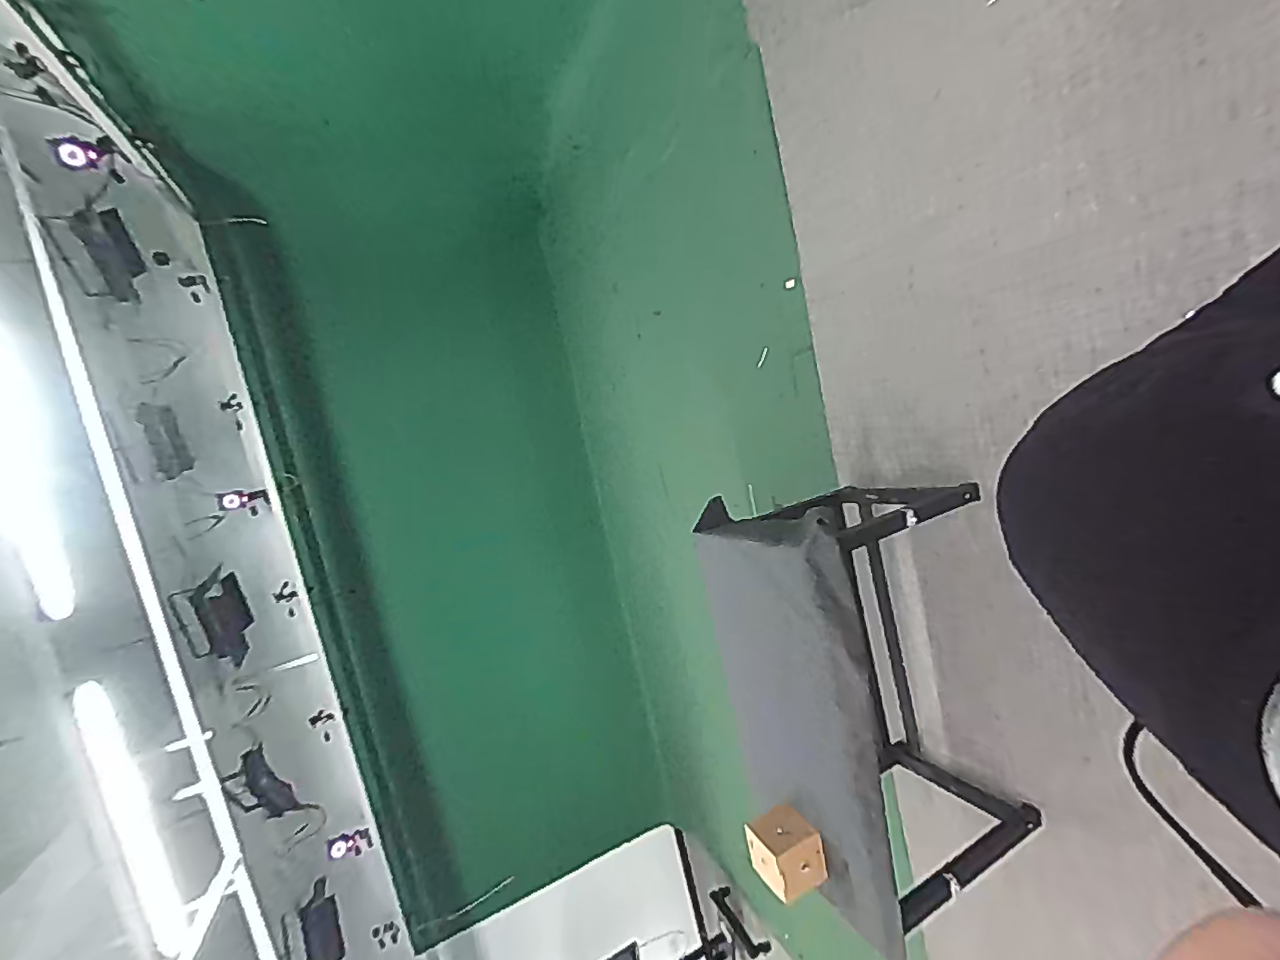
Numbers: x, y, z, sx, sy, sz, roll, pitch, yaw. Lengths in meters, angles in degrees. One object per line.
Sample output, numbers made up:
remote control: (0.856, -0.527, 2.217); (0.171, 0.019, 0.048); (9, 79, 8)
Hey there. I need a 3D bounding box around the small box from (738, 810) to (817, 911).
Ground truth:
small box: (0.445, 1.204, 1.728); (0.179, 0.176, 0.168); (2, 104, 66)
